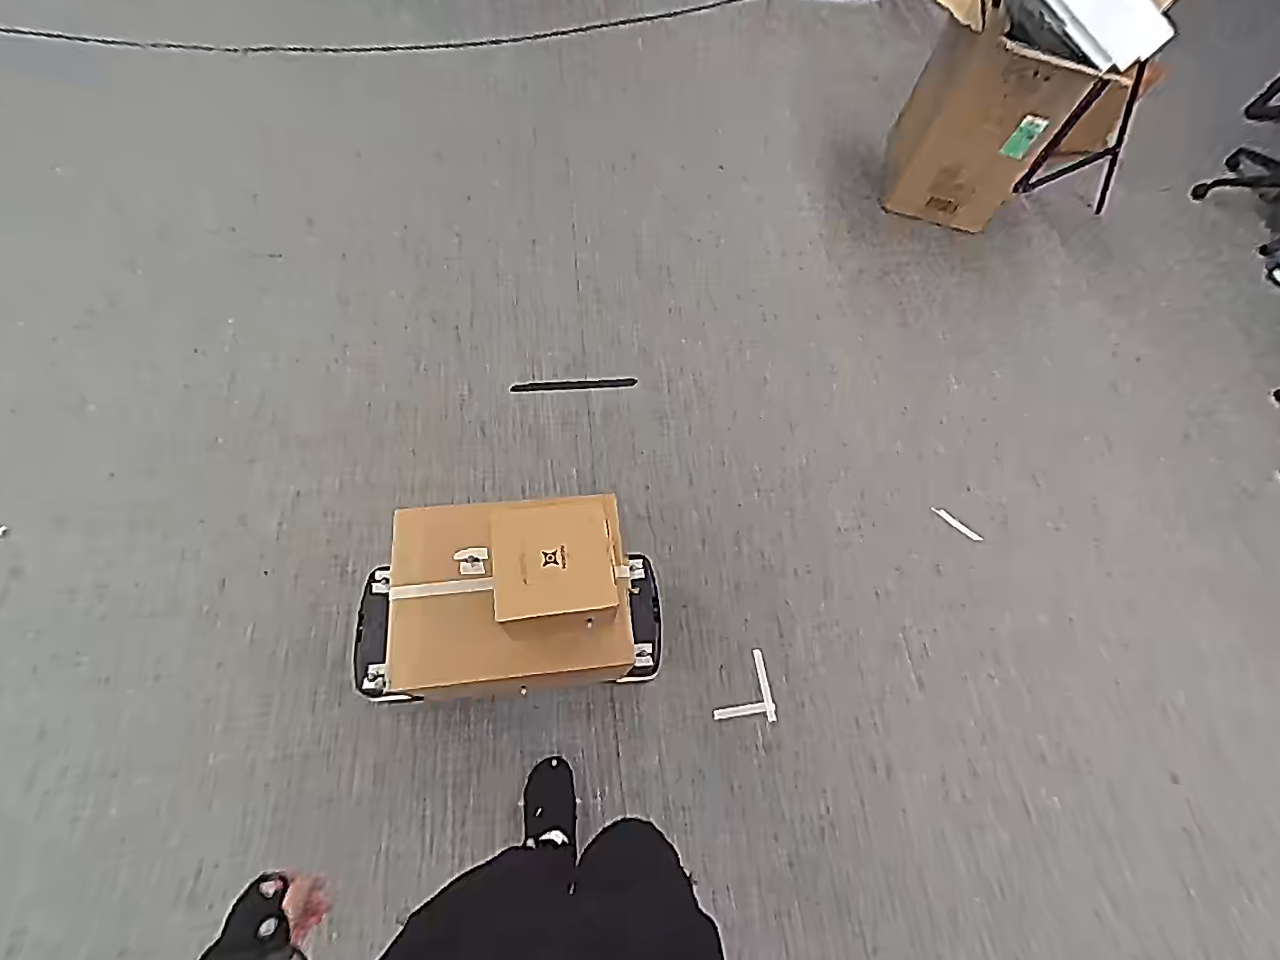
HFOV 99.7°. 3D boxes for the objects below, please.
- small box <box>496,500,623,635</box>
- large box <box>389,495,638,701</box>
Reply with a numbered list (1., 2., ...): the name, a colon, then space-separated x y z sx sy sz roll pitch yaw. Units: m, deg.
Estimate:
1. small box: -0.127 0.143 0.854 0.179 0.176 0.168 -5 66 -8
2. large box: -0.229 0.243 1.068 0.408 0.320 0.320 -4 65 -7
